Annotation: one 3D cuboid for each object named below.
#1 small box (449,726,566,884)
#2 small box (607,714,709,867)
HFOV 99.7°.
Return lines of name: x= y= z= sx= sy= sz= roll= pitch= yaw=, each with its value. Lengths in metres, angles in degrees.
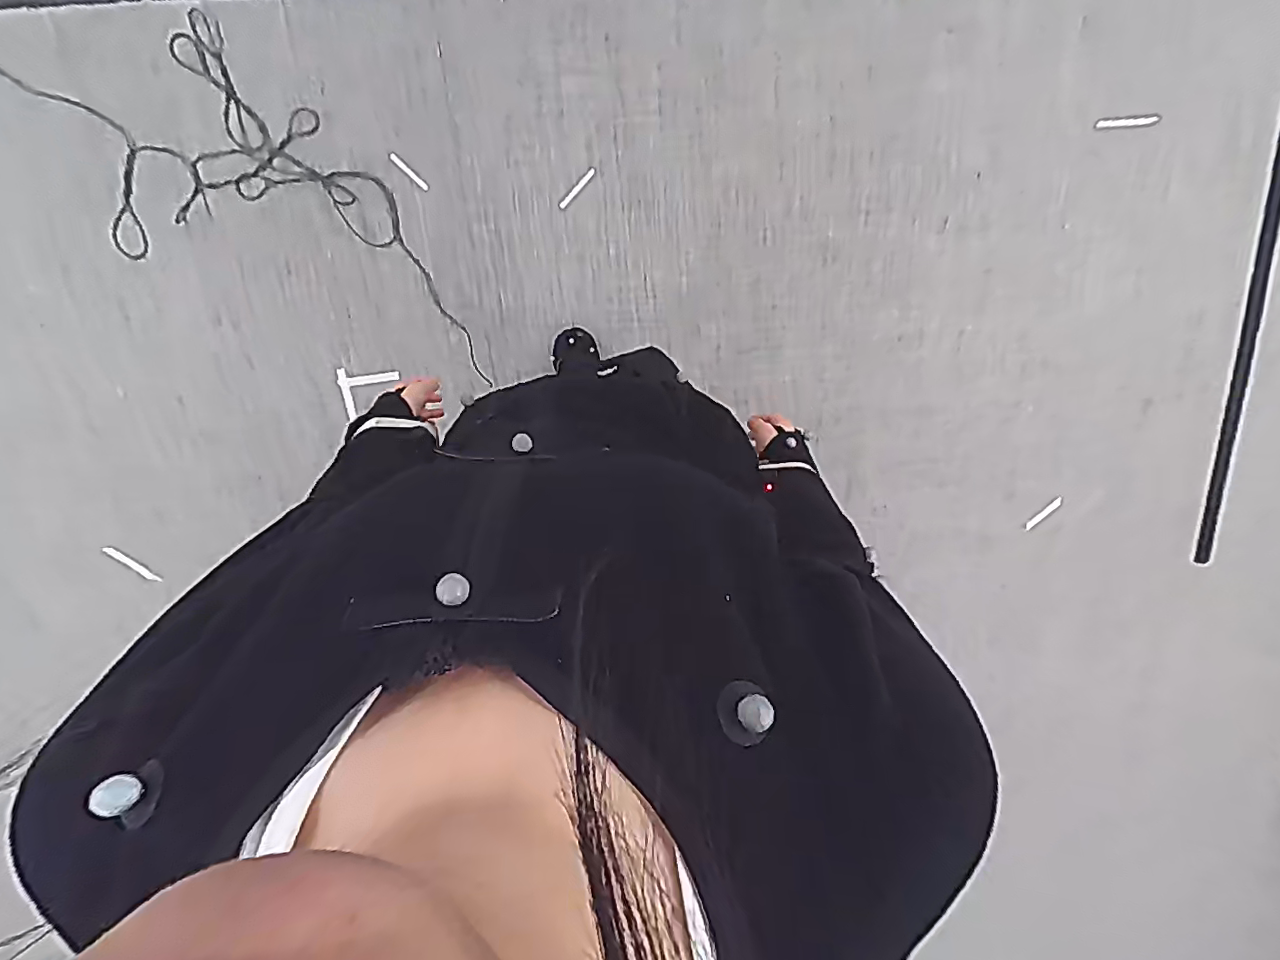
small box: x=-0.221 y=0.555 z=0.948 sx=0.168 sy=0.176 sz=0.179 roll=-3 pitch=105 yaw=-2
small box: x=0.024 y=0.537 z=0.957 sx=0.168 sy=0.176 sz=0.179 roll=-1 pitch=105 yaw=-2
